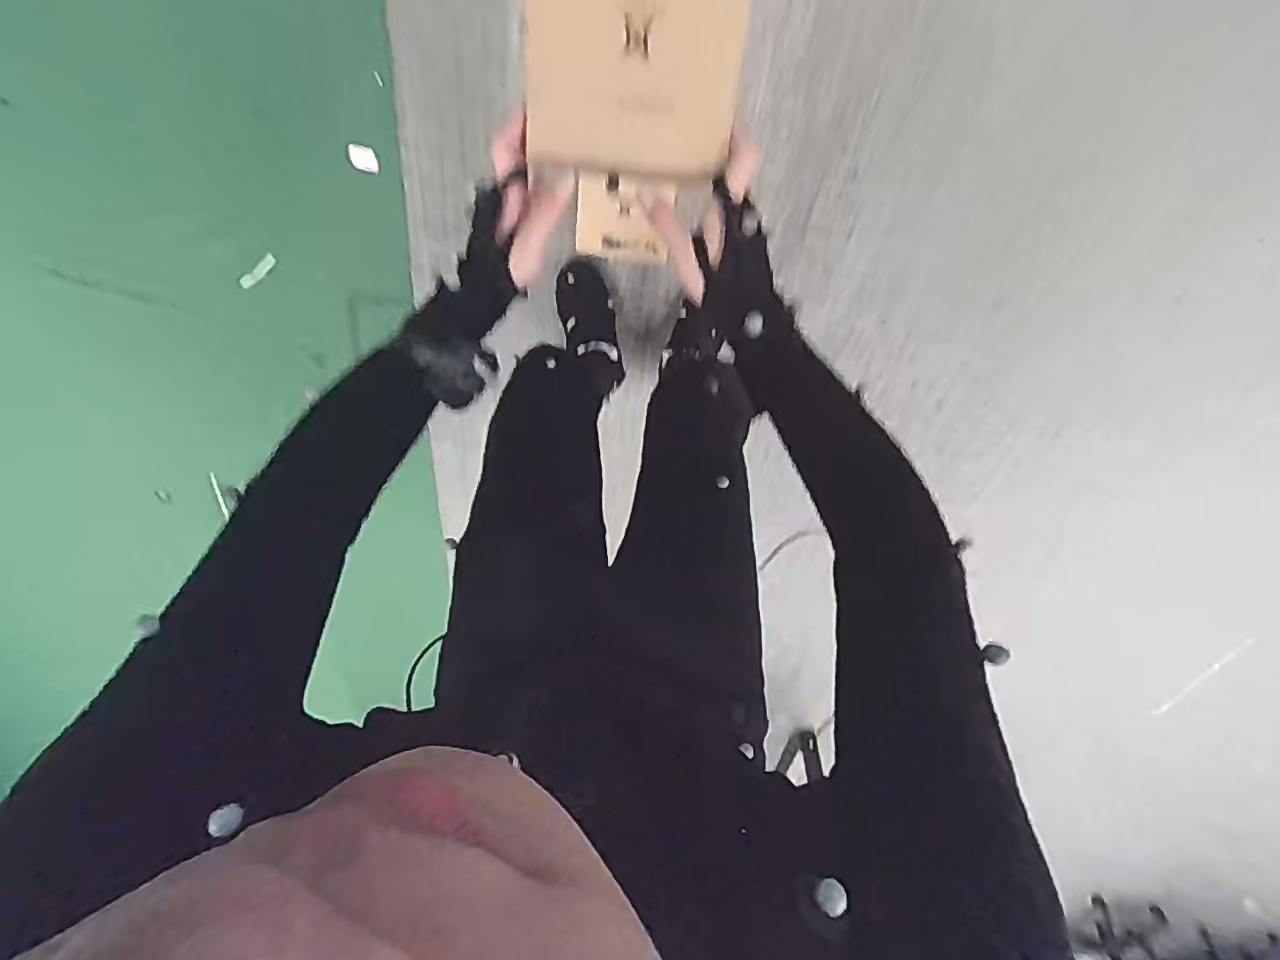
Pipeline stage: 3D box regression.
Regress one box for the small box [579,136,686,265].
[{"bbox_3d":[-0.013,-0.515,0.988,0.168,0.176,0.179,9,125,-1],"label":"small box"}]
